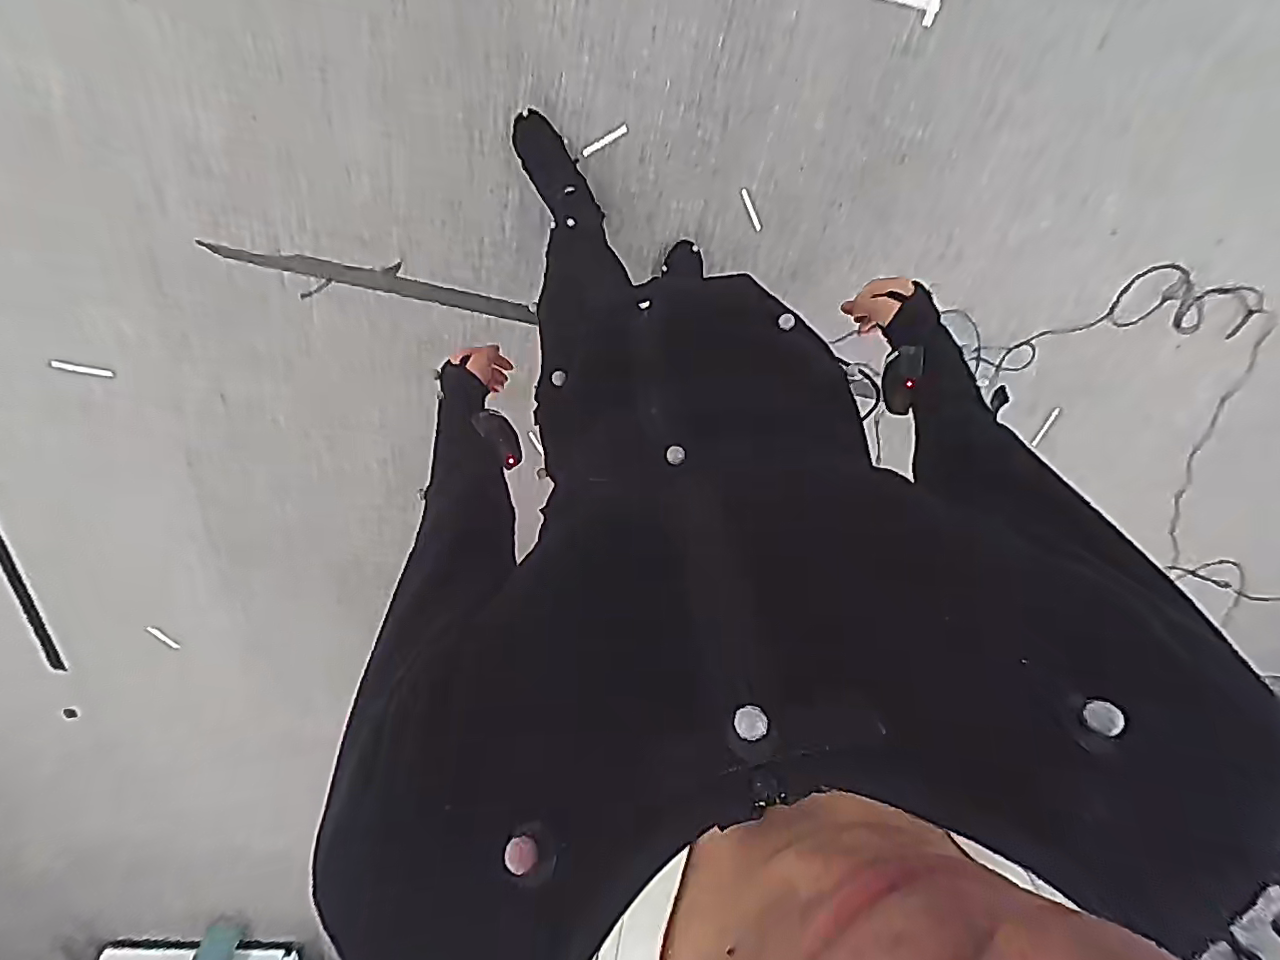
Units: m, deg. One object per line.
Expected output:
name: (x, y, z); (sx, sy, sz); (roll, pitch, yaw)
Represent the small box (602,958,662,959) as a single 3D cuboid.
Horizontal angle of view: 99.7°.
small box: (-0.038, 1.170, 1.173); (0.179, 0.176, 0.168); (8, 122, -7)
